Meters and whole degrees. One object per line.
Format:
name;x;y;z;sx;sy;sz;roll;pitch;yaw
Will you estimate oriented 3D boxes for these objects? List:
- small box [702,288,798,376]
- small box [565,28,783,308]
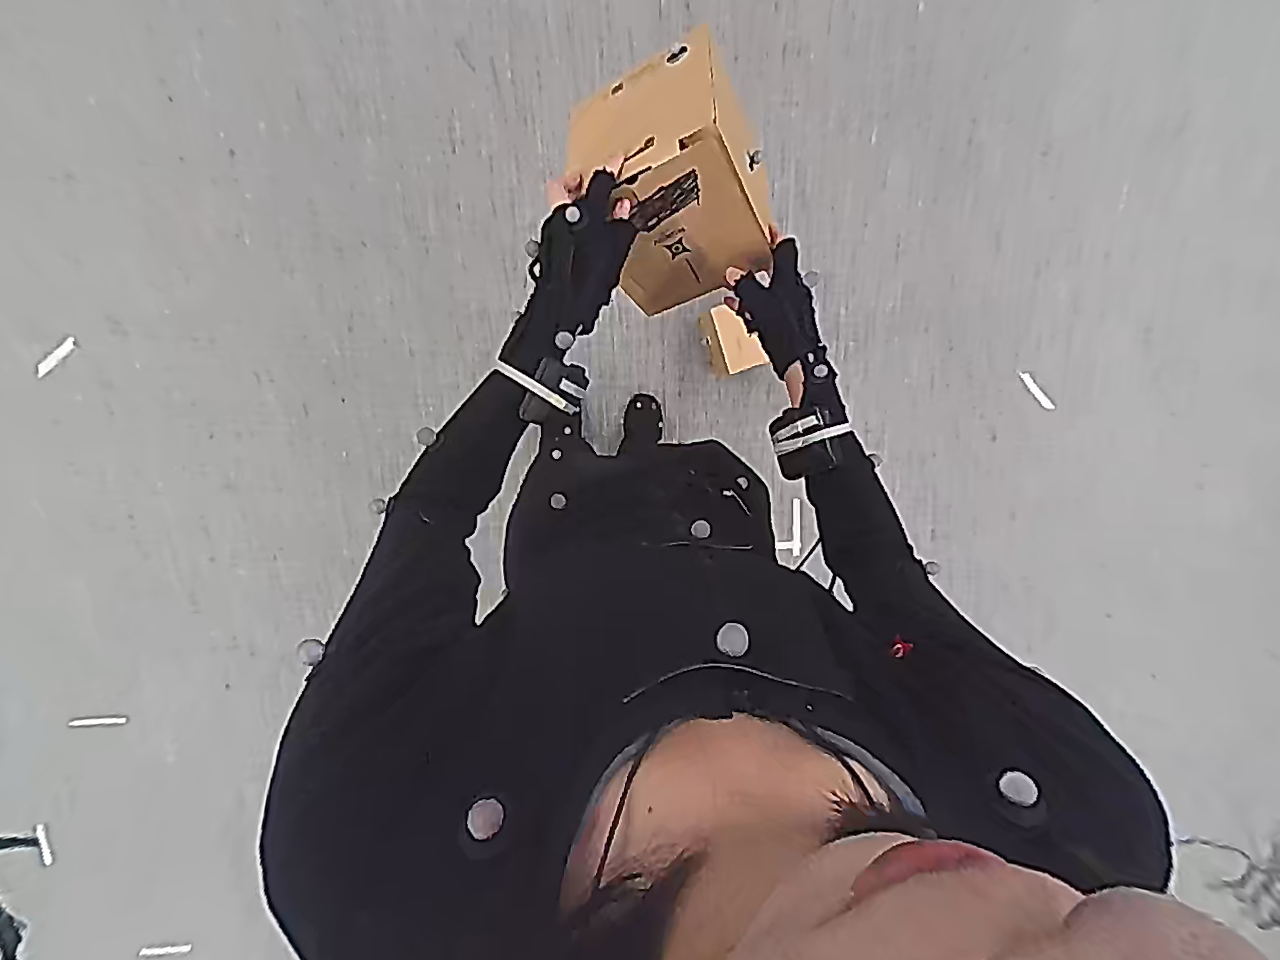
small box;0.274;-0.371;1.379;0.179;0.176;0.168;-20;101;0
small box;0.039;-0.328;0.578;0.168;0.179;0.176;-14;60;28
